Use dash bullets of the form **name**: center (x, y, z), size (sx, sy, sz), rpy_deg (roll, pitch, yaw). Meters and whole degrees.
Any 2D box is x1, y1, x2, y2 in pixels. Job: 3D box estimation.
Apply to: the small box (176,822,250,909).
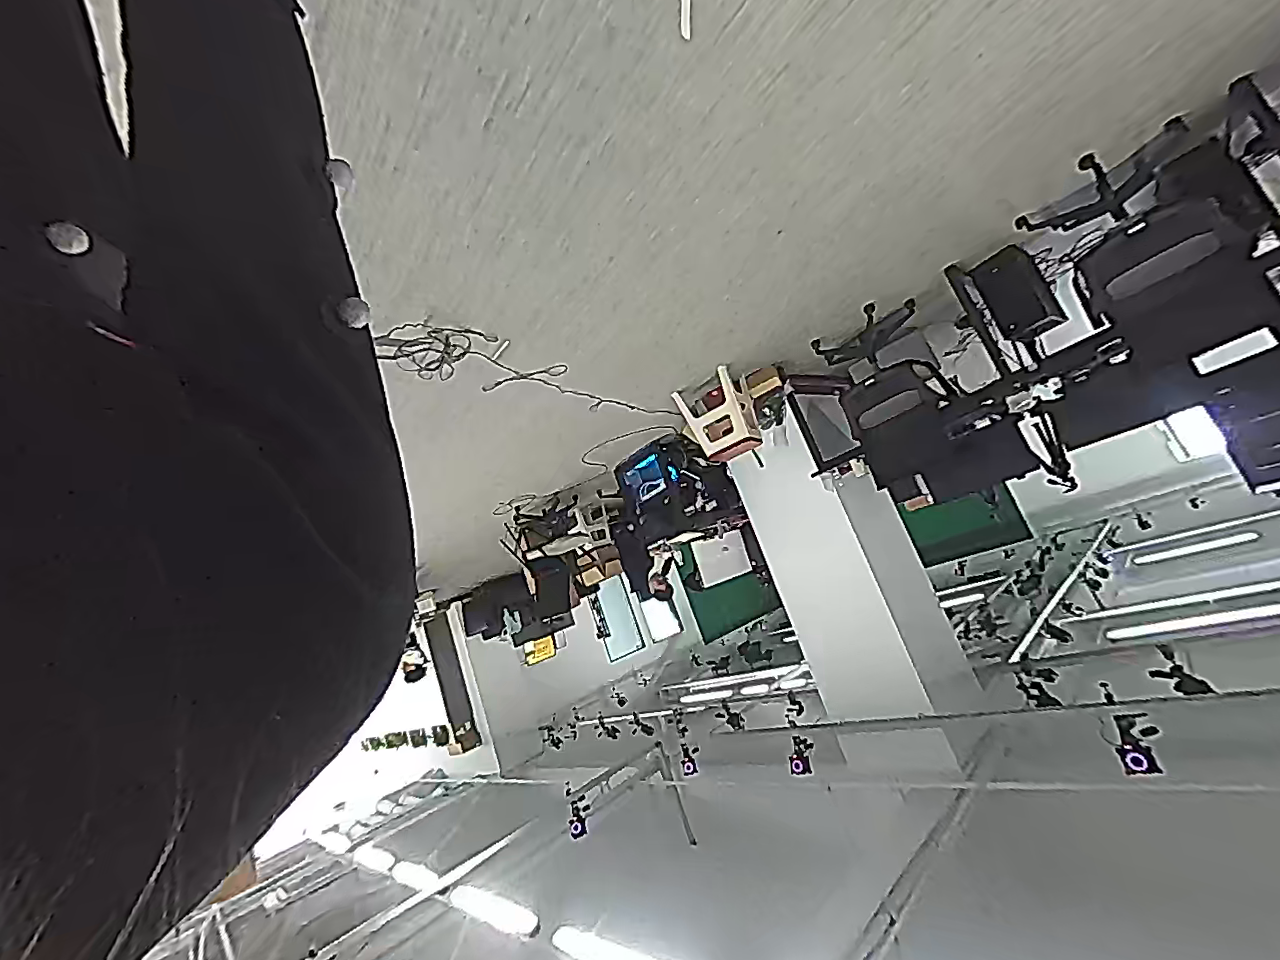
- **small box**: center (-1.420, 1.267, 1.792), size (0.179, 0.176, 0.168), rpy_deg (-8, 163, -42)
